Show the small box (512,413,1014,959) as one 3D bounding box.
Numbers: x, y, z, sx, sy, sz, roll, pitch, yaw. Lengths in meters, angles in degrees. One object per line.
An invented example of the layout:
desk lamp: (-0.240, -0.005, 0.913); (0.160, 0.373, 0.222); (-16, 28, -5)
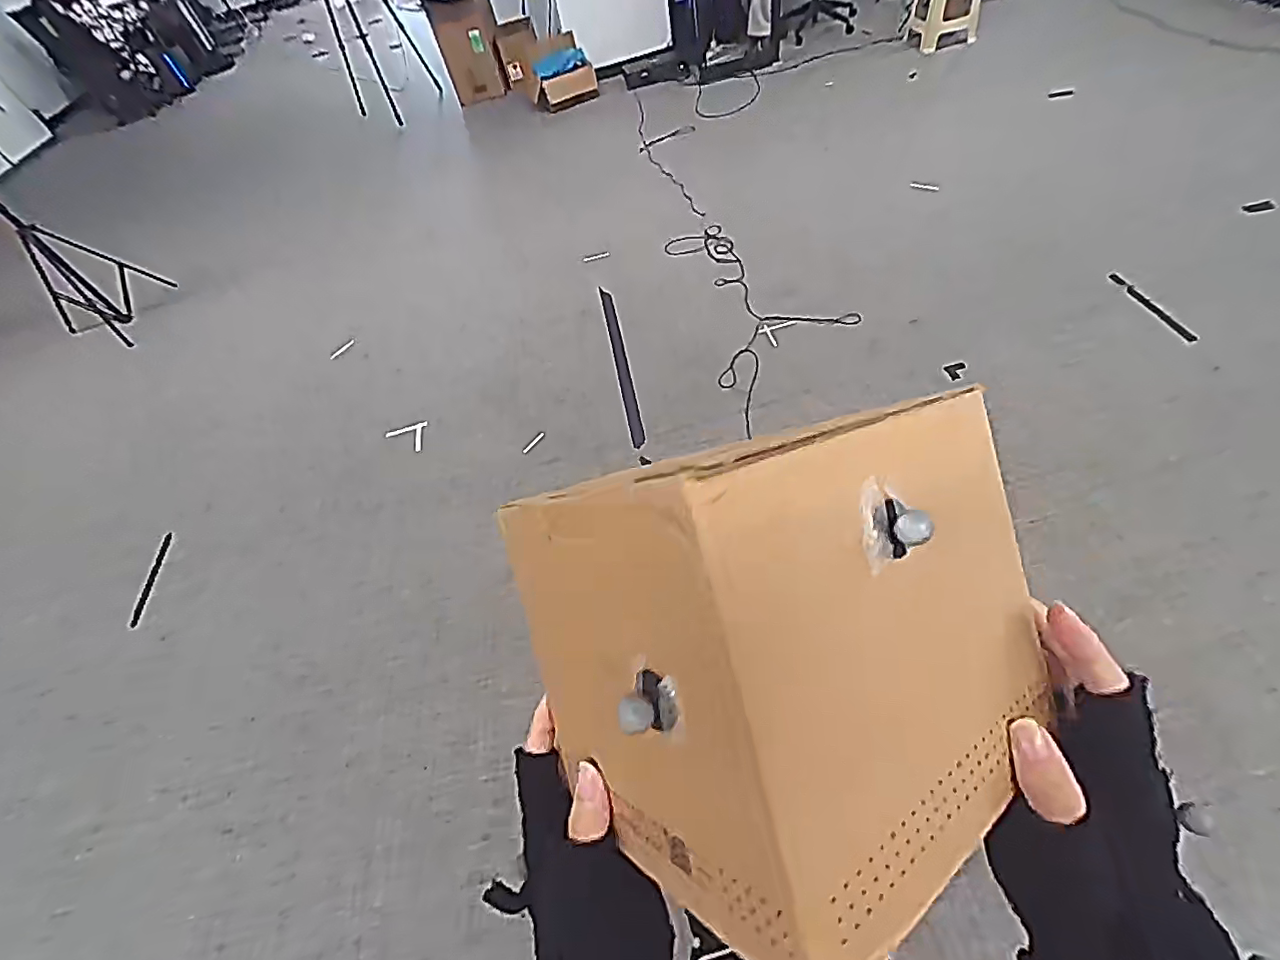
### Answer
small box: (0.060, 0.077, 0.282); (0.179, 0.176, 0.168); (-15, 1, -34)
